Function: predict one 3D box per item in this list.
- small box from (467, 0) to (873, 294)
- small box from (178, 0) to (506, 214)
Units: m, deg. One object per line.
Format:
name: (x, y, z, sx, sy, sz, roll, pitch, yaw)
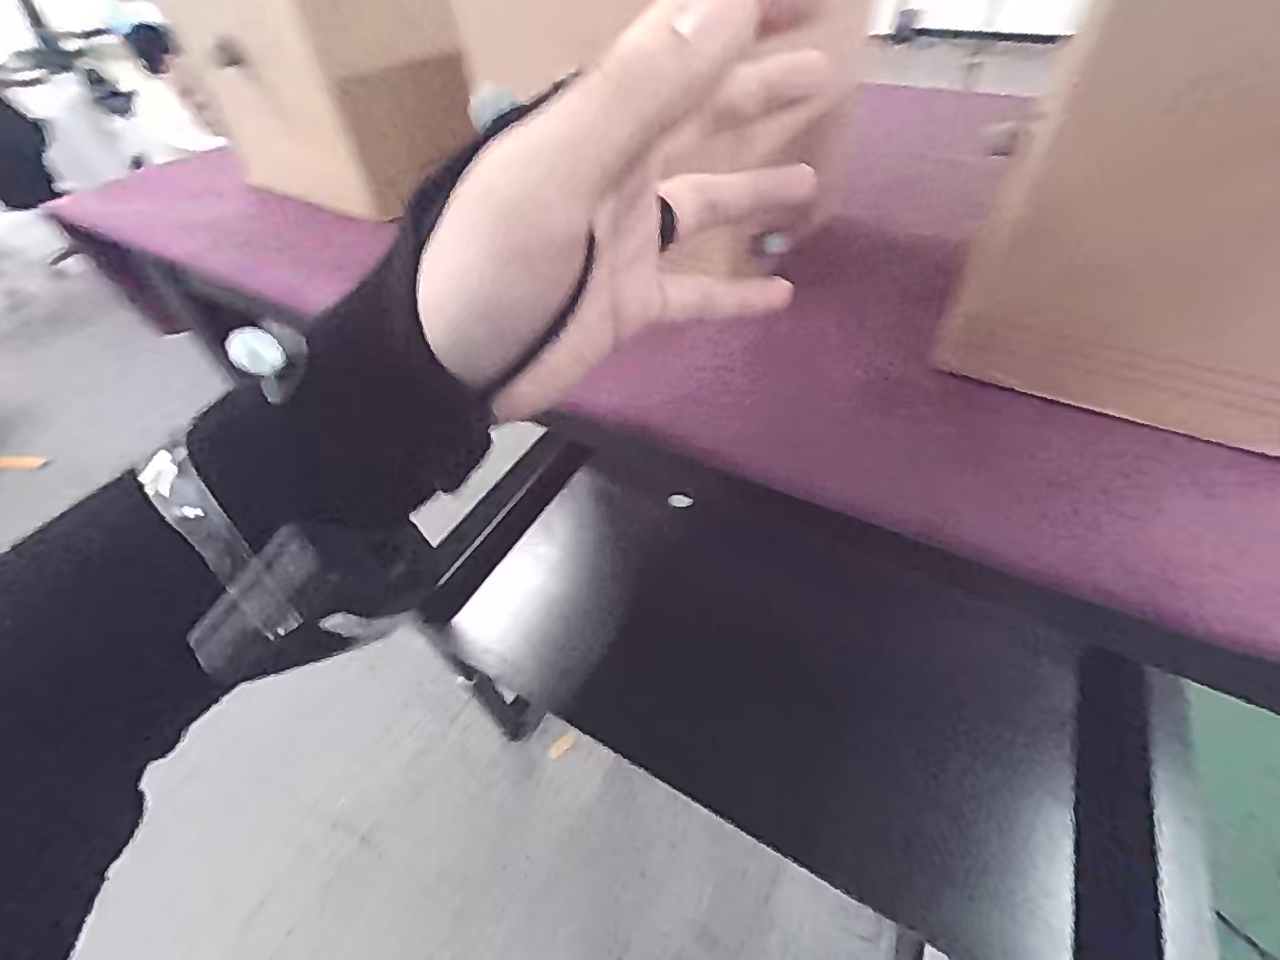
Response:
small box: (0.027, -0.236, 0.330, 0.179, 0.176, 0.168, 25, 53, 24)
small box: (-0.219, -0.332, 0.427, 0.179, 0.176, 0.168, 24, 54, 22)
